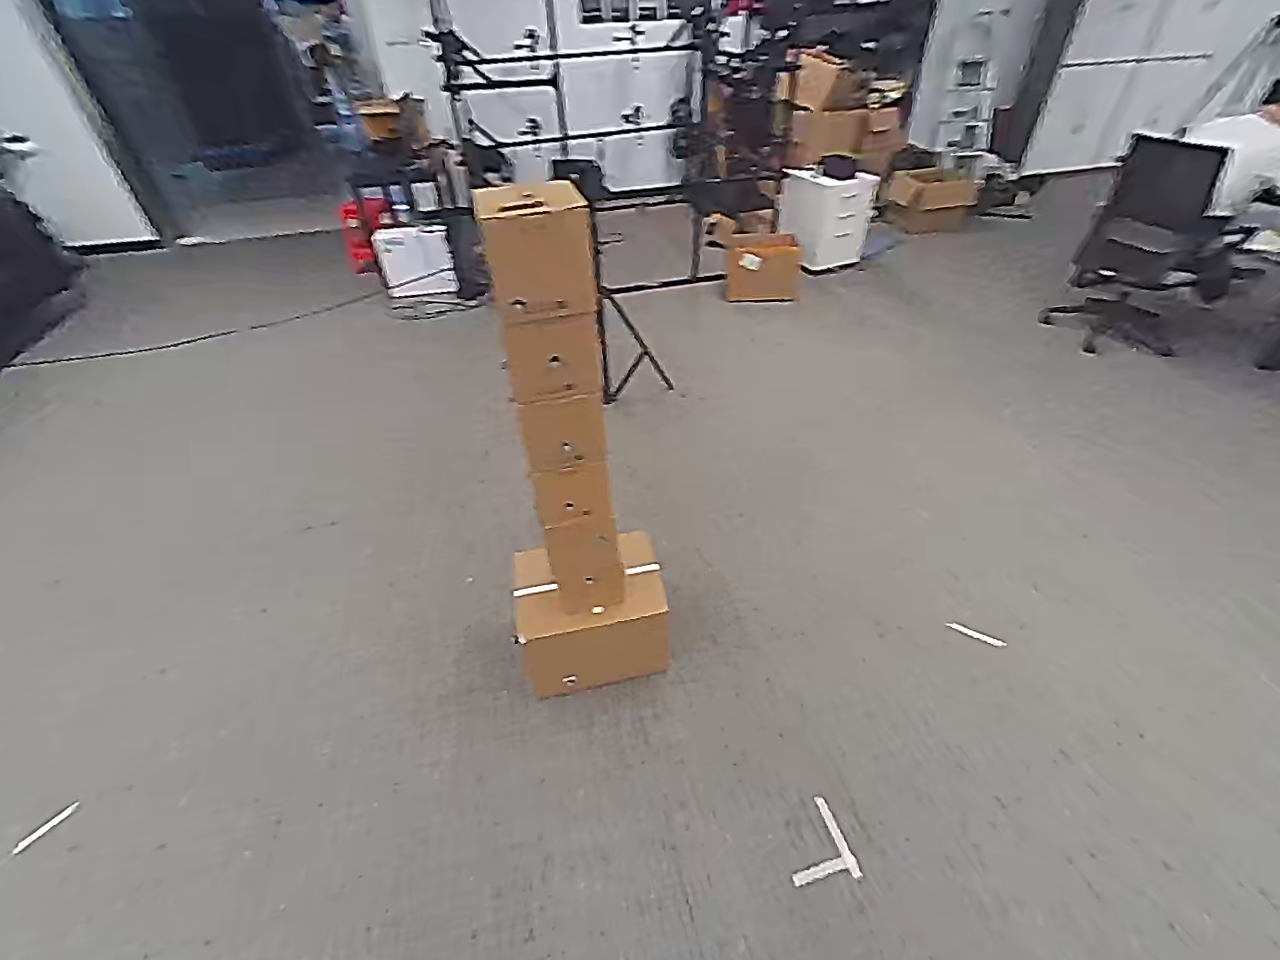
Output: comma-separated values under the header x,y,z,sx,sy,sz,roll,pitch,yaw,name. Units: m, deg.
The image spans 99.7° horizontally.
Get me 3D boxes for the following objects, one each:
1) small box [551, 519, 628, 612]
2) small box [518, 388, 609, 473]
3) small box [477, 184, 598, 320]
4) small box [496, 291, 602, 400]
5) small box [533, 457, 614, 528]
x,y,z,sx,sy,sz,roll,pitch,yaw,name
-0.135,0.234,1.459,0.179,0.176,0.168,-10,43,-10,small box
-0.165,-0.141,1.143,0.168,0.176,0.179,-12,43,-9,small box
-0.172,-0.383,0.921,0.168,0.176,0.179,-12,43,-10,small box
-0.172,-0.267,1.038,0.168,0.176,0.179,-12,43,-10,small box
-0.158,-0.016,1.250,0.168,0.176,0.179,-11,43,-9,small box
